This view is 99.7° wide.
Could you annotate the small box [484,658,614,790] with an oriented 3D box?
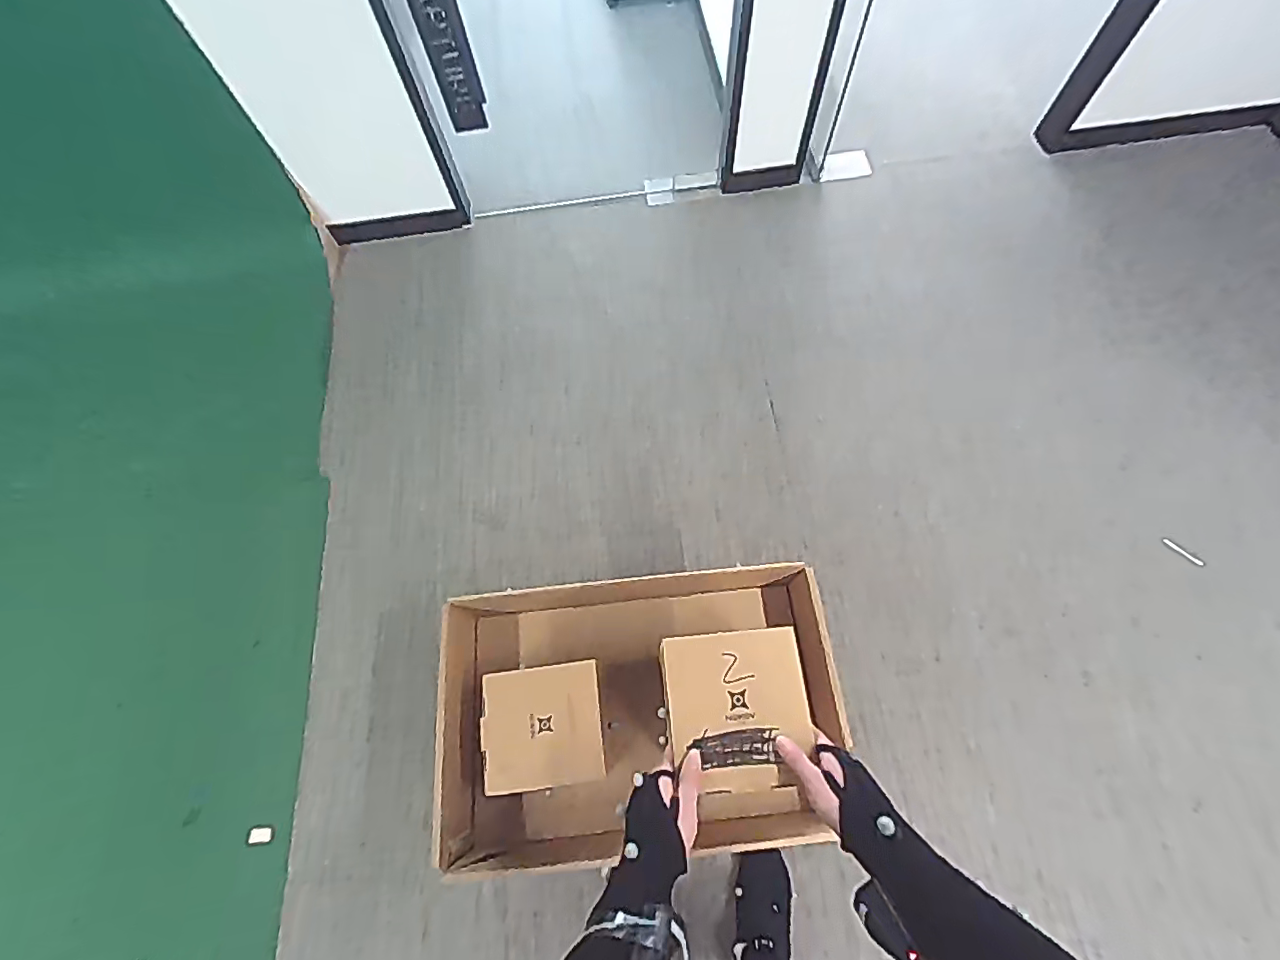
[{"bbox_3d":[-0.139,0.385,0.866,0.179,0.176,0.168,-6,68,-1],"label":"small box"}]
